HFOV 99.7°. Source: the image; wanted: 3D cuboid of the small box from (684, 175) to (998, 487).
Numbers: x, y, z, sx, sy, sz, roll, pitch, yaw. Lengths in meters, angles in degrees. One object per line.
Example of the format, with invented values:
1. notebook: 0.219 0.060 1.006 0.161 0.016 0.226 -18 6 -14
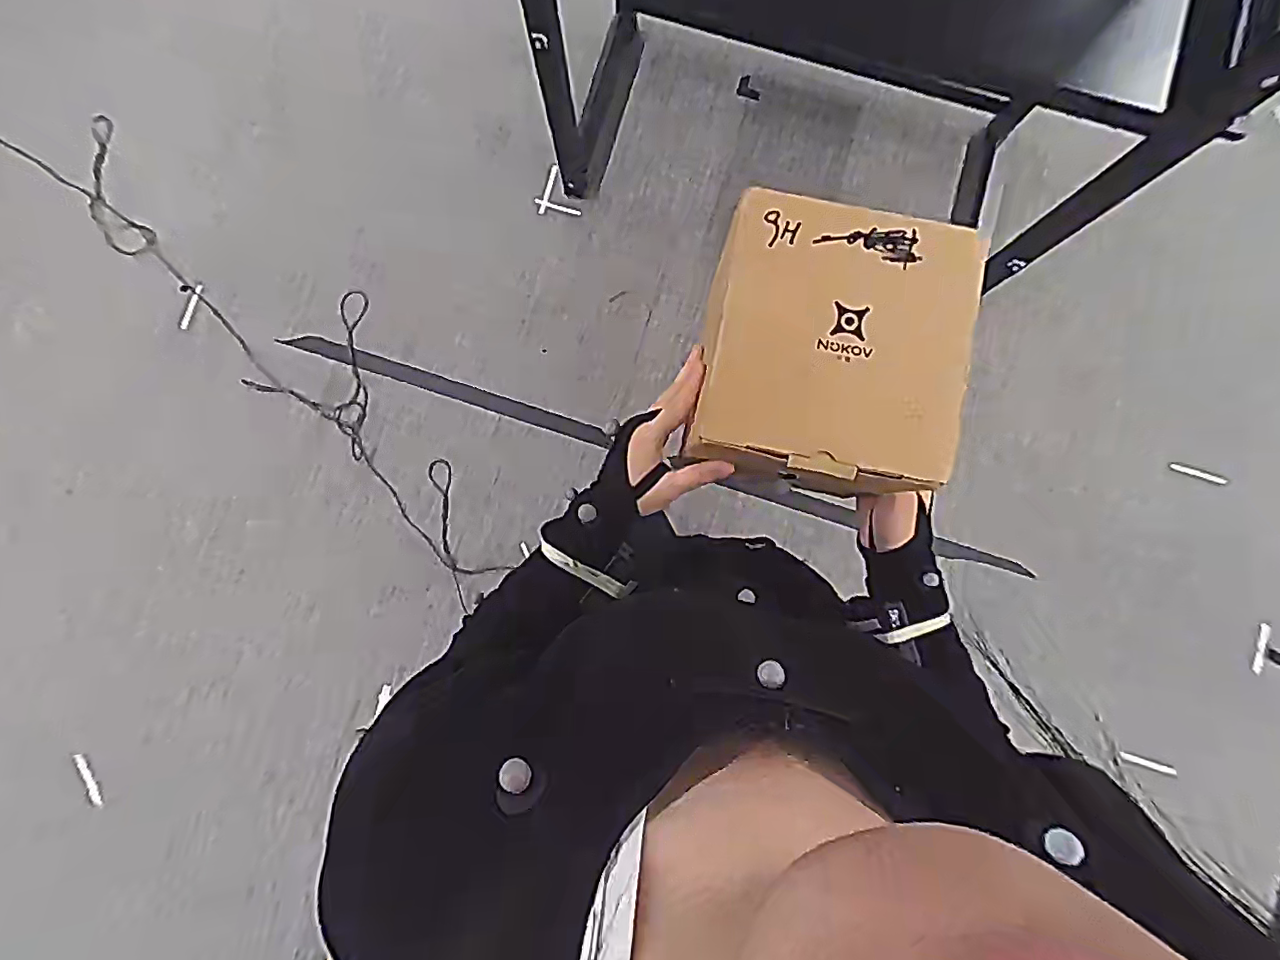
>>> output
1. small box: 0.133 -0.093 0.424 0.168 0.176 0.179 11 87 -1
